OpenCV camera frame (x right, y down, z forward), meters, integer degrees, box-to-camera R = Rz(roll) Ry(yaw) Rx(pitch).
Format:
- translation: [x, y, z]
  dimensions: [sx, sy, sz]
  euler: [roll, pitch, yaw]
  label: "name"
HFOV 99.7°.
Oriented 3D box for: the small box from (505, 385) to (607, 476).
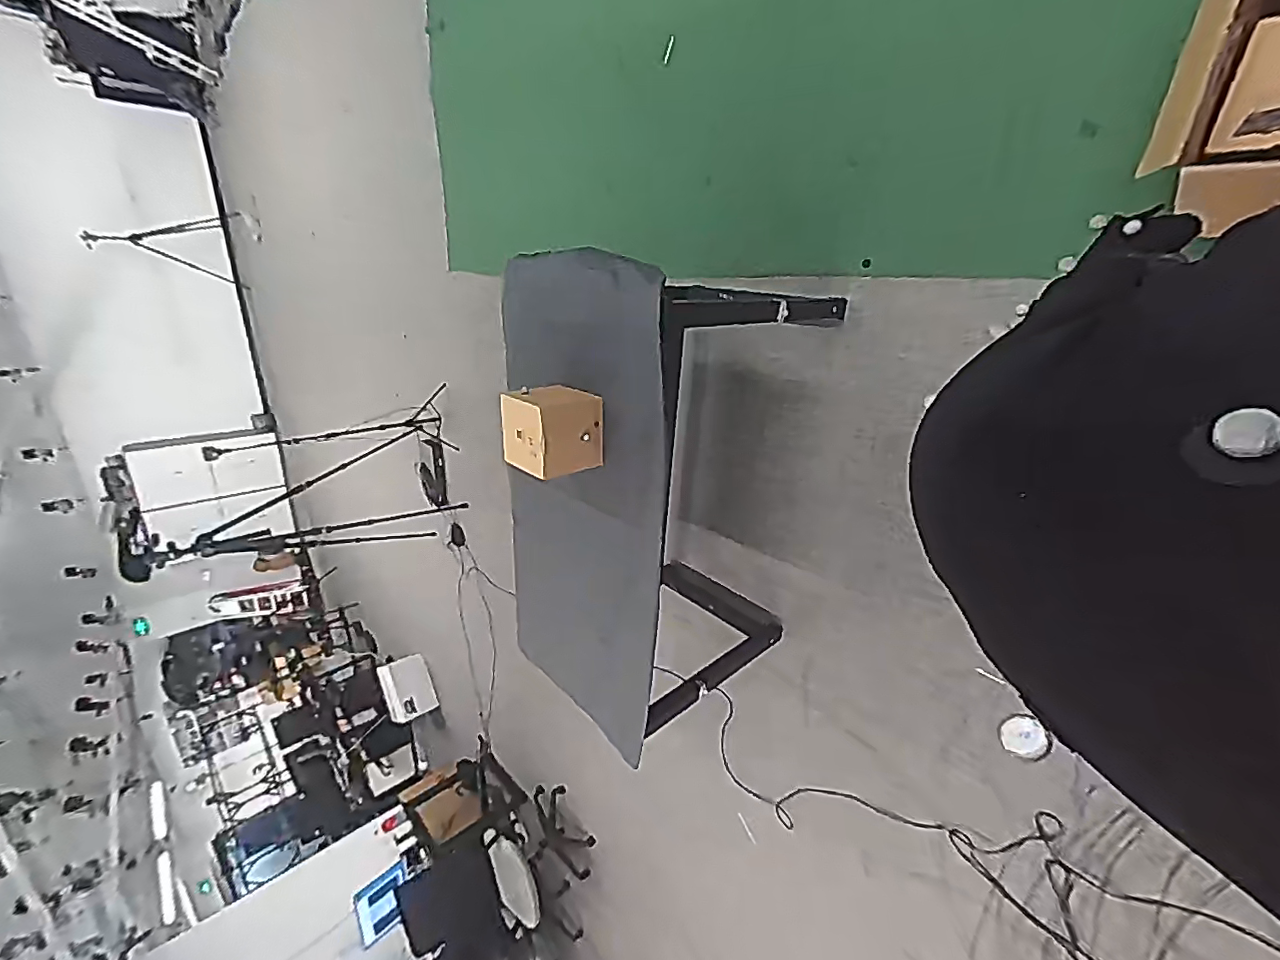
- translation: [-0.197, -0.124, 1.261]
  dimensions: [0.179, 0.176, 0.168]
  euler: [23, 120, 43]
  label: "small box"
